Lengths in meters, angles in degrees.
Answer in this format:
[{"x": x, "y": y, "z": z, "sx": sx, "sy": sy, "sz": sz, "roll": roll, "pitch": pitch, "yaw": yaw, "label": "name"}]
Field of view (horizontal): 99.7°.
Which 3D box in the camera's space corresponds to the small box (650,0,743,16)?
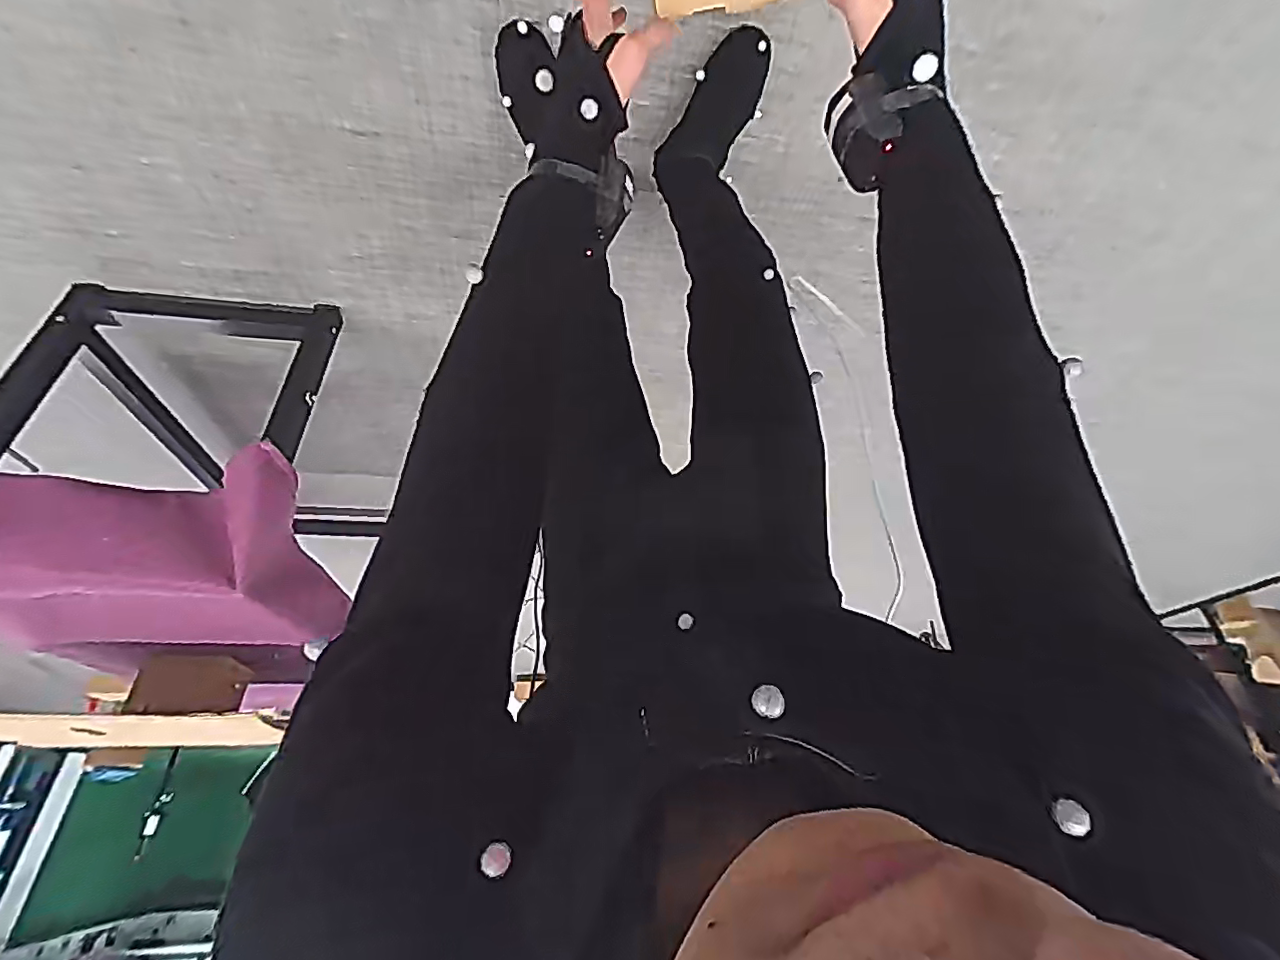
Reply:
[{"x": 0.078, "y": -0.528, "z": 0.434, "sx": 0.168, "sy": 0.176, "sz": 0.179, "roll": -6, "pitch": 149, "yaw": 6, "label": "small box"}]
